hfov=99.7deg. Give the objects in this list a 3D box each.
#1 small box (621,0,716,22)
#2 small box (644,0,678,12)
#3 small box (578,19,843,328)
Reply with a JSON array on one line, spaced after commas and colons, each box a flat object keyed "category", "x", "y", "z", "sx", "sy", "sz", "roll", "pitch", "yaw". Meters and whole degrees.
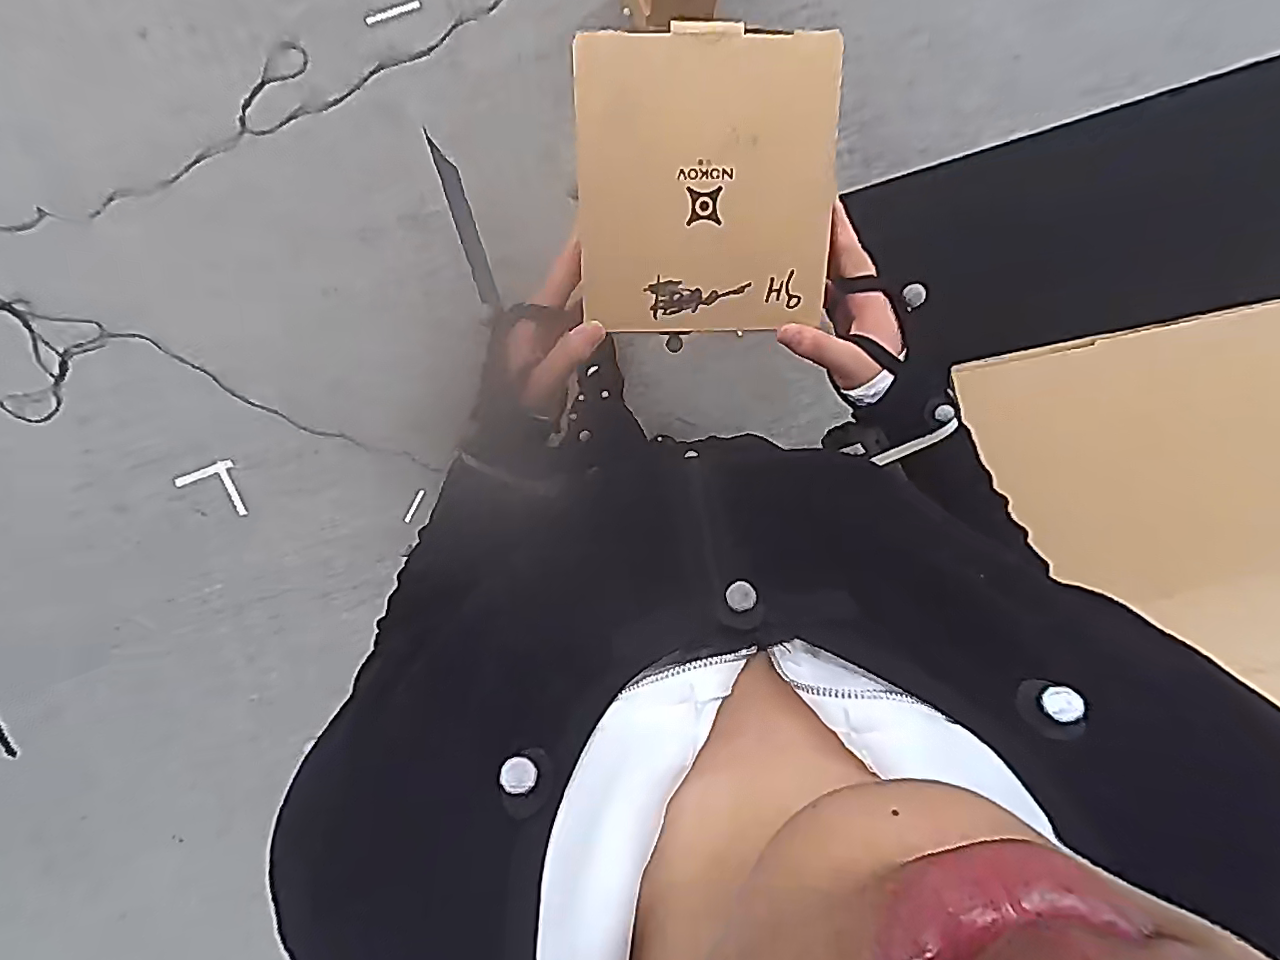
[{"category": "small box", "x": 0.060, "y": -1.106, "z": 1.220, "sx": 0.179, "sy": 0.176, "sz": 0.168, "roll": -21, "pitch": 99, "yaw": 4}, {"category": "small box", "x": 0.066, "y": -1.082, "z": 1.060, "sx": 0.179, "sy": 0.176, "sz": 0.168, "roll": -24, "pitch": 100, "yaw": 3}, {"category": "small box", "x": 0.040, "y": -0.212, "z": 0.422, "sx": 0.168, "sy": 0.176, "sz": 0.179, "roll": -1, "pitch": 106, "yaw": -1}]
